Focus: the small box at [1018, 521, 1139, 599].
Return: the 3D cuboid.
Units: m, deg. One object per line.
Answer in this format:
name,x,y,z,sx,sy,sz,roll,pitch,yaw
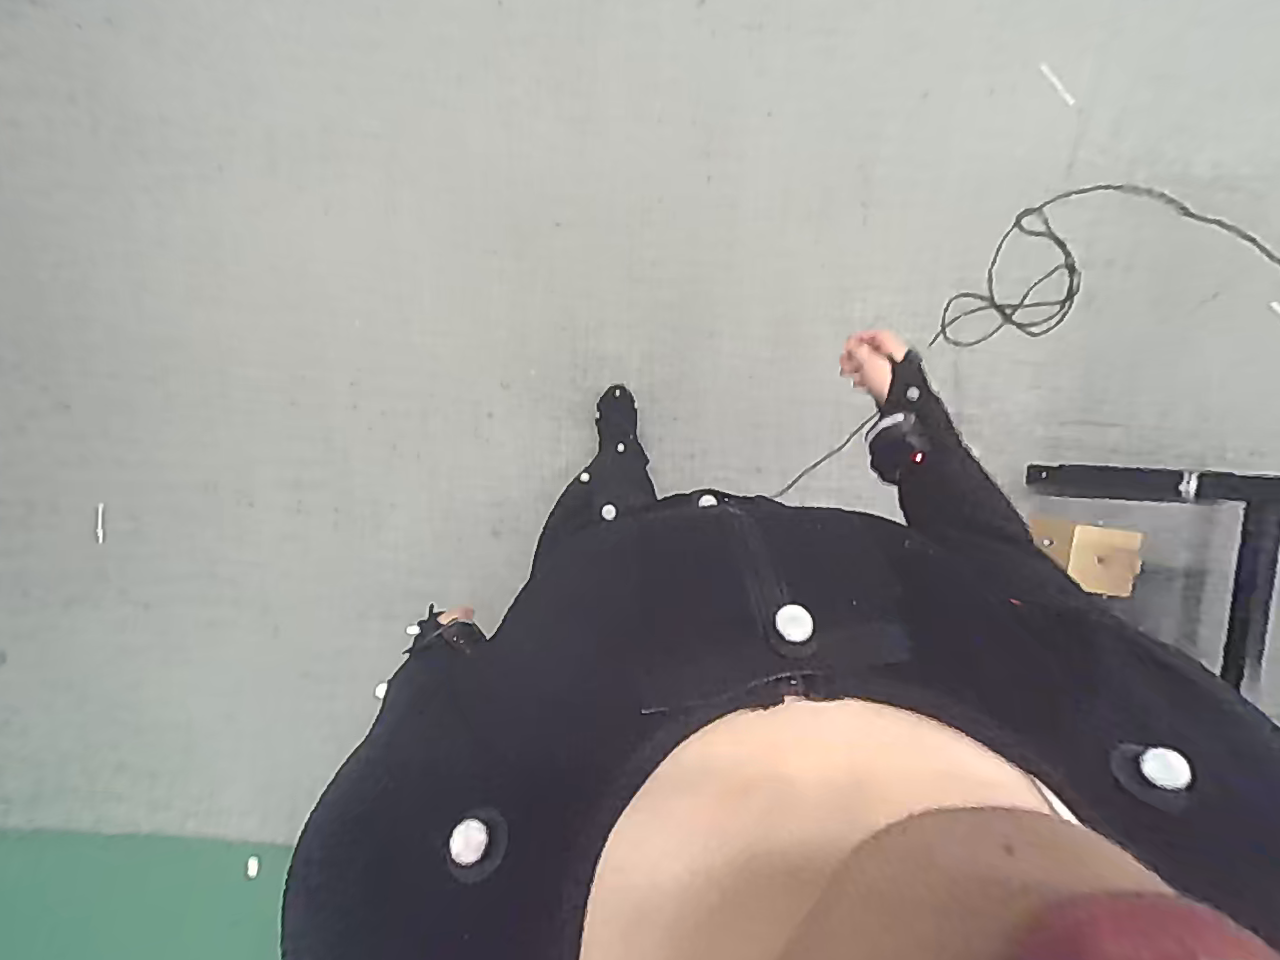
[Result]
small box,1.143,0.204,1.422,0.179,0.176,0.168,7,93,-2
